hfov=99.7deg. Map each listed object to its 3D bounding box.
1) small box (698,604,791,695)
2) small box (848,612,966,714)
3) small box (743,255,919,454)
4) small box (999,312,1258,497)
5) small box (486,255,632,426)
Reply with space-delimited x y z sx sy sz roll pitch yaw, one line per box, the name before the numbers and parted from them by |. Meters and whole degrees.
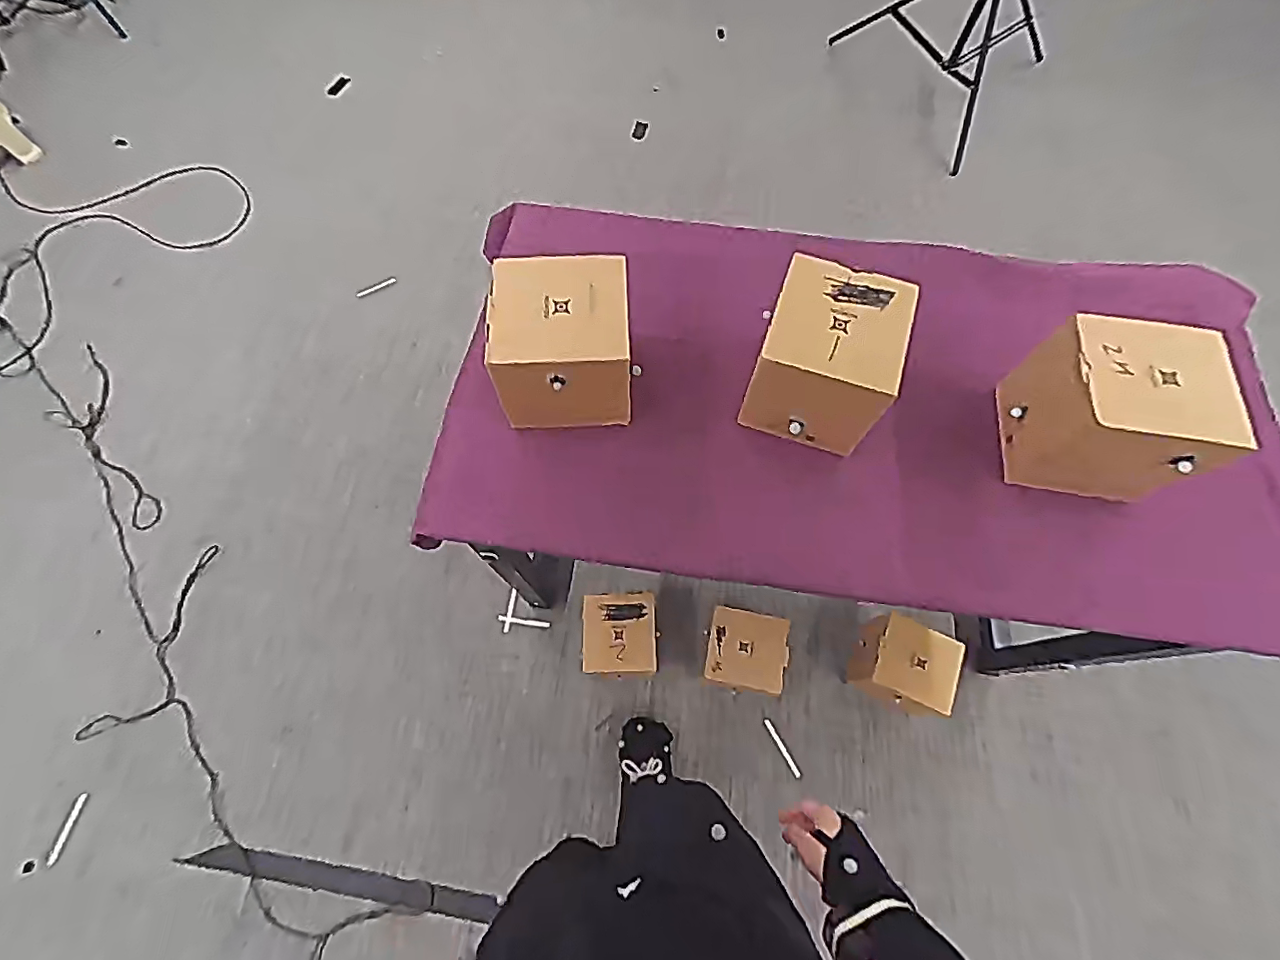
small box | 0.243 0.406 1.288 0.179 0.176 0.168 12 68 5
small box | 0.623 0.432 1.277 0.179 0.176 0.168 23 70 11
small box | 0.249 -0.164 0.737 0.168 0.176 0.179 18 69 8
small box | 0.610 -0.088 0.703 0.179 0.176 0.168 9 66 5
small box | -0.102 -0.184 0.748 0.179 0.176 0.168 -3 68 -2
